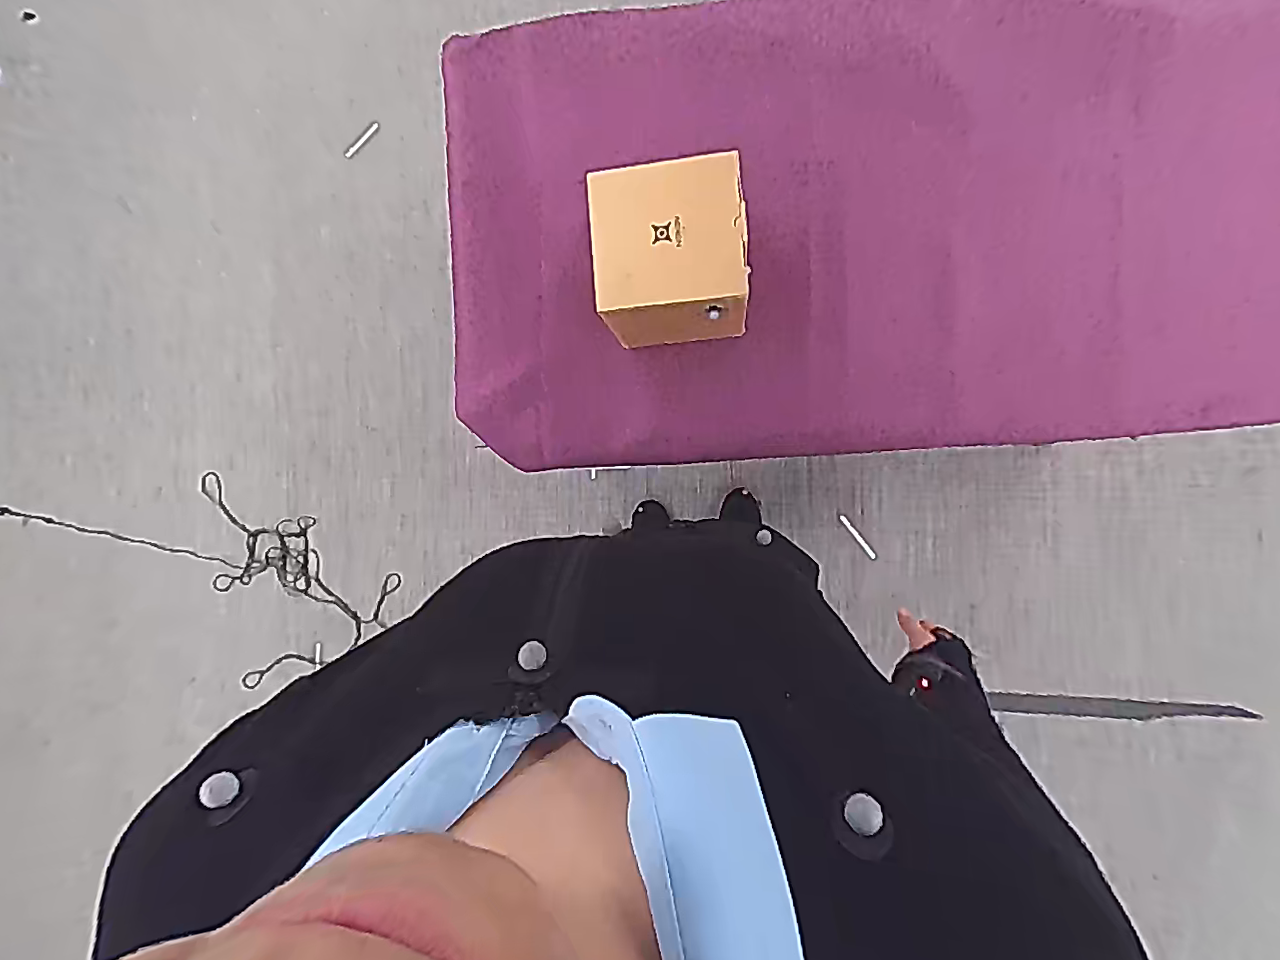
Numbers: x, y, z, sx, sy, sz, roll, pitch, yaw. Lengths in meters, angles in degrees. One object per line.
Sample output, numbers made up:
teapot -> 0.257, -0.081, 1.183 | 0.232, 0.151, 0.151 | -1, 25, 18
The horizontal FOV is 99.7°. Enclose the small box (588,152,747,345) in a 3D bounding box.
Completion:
small box -> 0.041, -0.280, 0.695 | 0.179, 0.176, 0.168 | -5, 89, 8
